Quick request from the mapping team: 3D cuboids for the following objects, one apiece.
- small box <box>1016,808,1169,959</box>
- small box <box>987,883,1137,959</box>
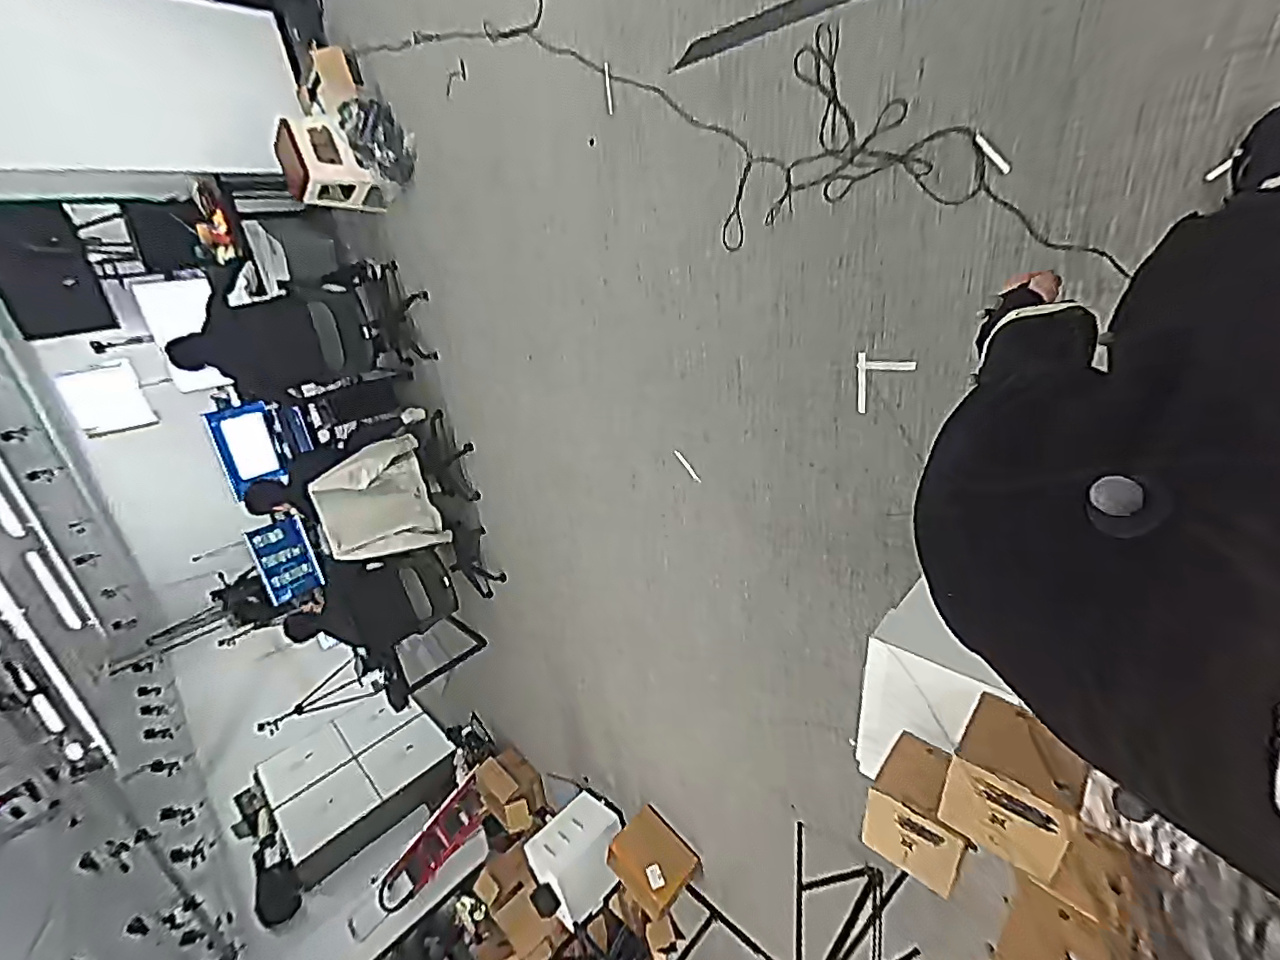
[{"bbox_3d":[0.737,0.698,0.895,0.168,0.176,0.179,22,126,40],"label":"small box"},{"bbox_3d":[0.618,0.761,0.800,0.168,0.176,0.179,21,124,41],"label":"small box"}]
